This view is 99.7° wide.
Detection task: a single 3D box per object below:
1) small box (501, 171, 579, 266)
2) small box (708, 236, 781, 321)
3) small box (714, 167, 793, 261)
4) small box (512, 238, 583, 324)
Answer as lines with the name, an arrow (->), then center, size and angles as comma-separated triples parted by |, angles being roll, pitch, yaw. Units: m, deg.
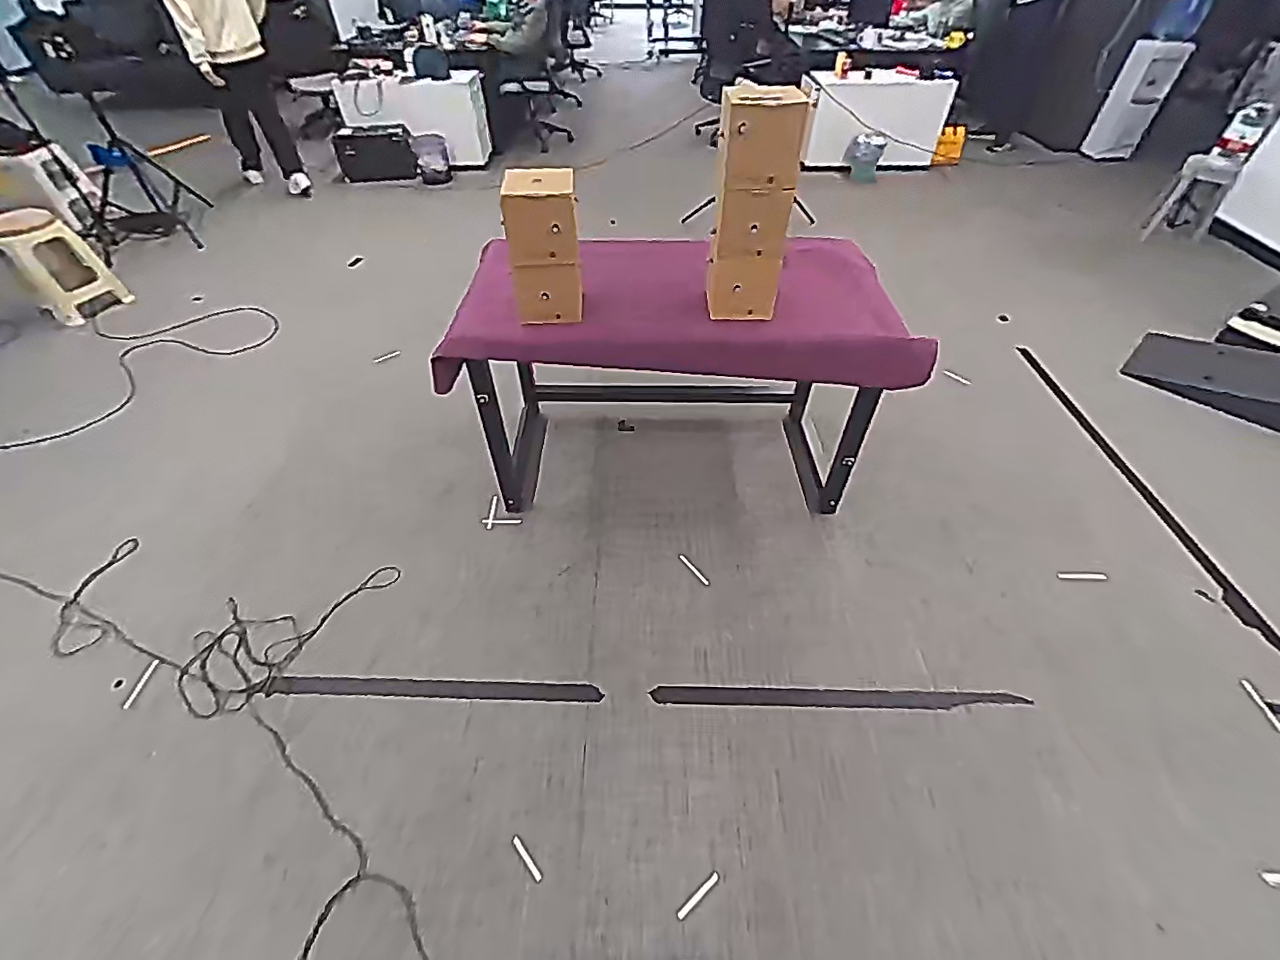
small box -> -0.239, -0.641, 1.332 | 0.168, 0.176, 0.179 | -3, 45, -4
small box -> 0.278, -0.548, 1.472 | 0.168, 0.176, 0.179 | 0, 46, 1
small box -> 0.277, -0.664, 1.356 | 0.168, 0.176, 0.179 | 1, 46, 1
small box -> -0.241, -0.534, 1.455 | 0.168, 0.176, 0.179 | -2, 46, -3
